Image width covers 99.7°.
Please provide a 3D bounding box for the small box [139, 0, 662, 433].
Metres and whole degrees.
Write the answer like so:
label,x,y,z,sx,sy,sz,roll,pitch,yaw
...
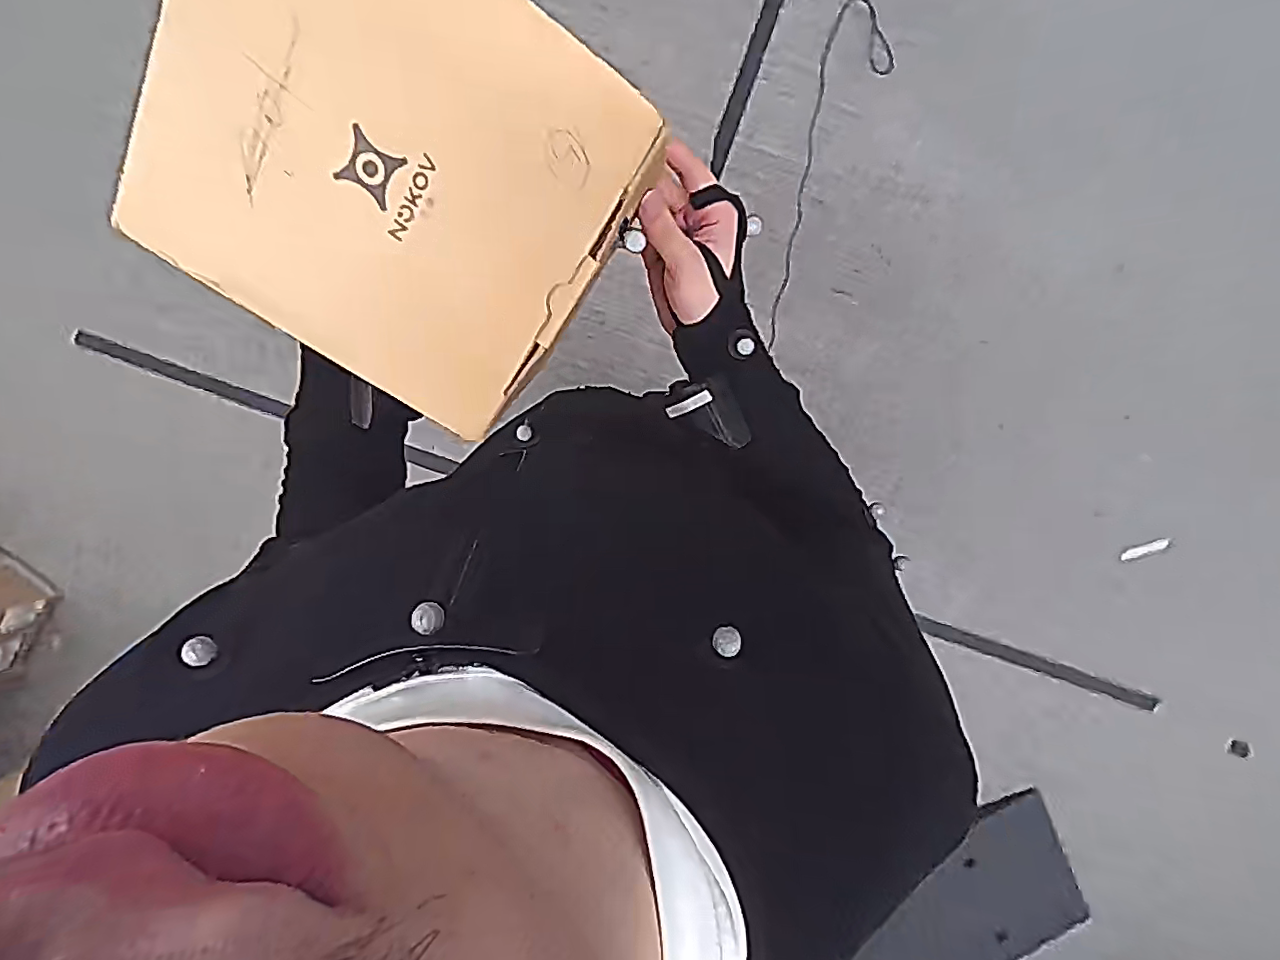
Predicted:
label,x,y,z,sx,sy,sz,roll,pitch,yaw
small box,-0.104,-0.160,0.304,0.179,0.176,0.168,33,110,-13
